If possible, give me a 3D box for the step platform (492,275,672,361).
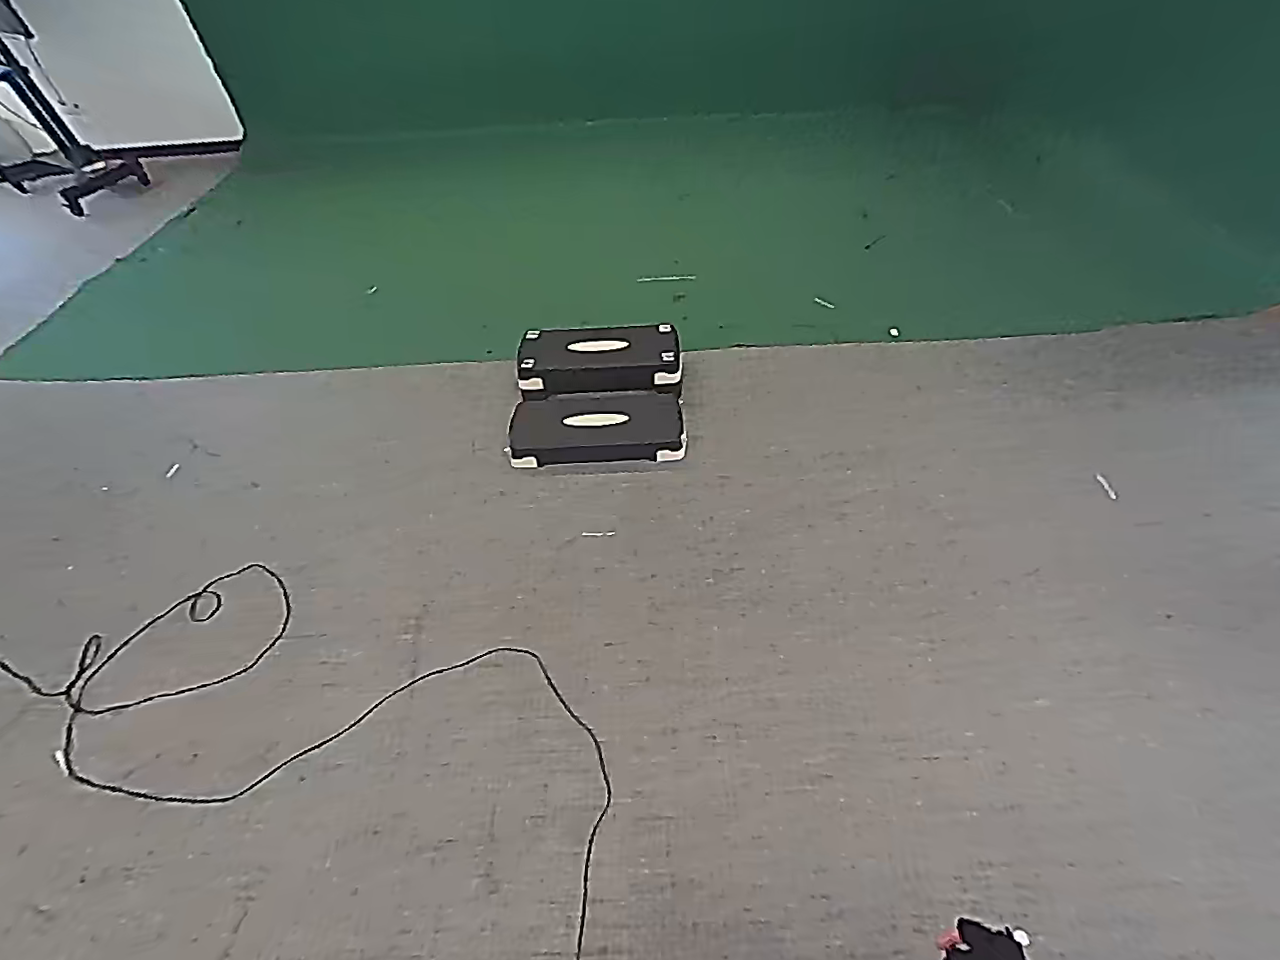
[{"bbox_3d":[-0.217,-0.640,2.140,0.684,0.204,0.286,-3,50,2],"label":"step platform"}]
